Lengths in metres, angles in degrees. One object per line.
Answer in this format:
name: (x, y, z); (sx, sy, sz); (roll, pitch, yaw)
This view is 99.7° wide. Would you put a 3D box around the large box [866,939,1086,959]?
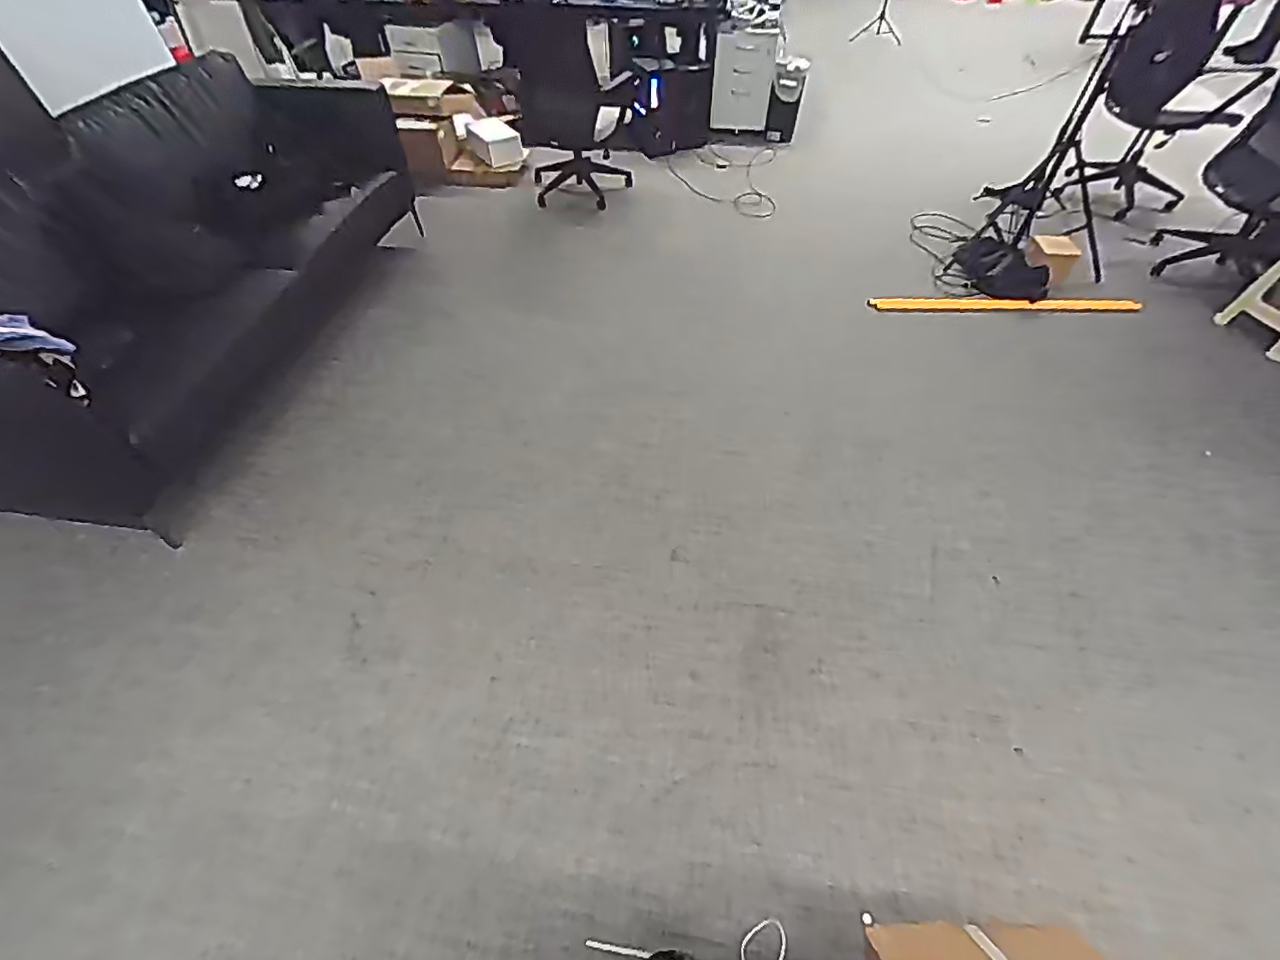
large box: (0.490, 0.808, 0.586); (0.320, 0.408, 0.320); (1, 81, 0)
